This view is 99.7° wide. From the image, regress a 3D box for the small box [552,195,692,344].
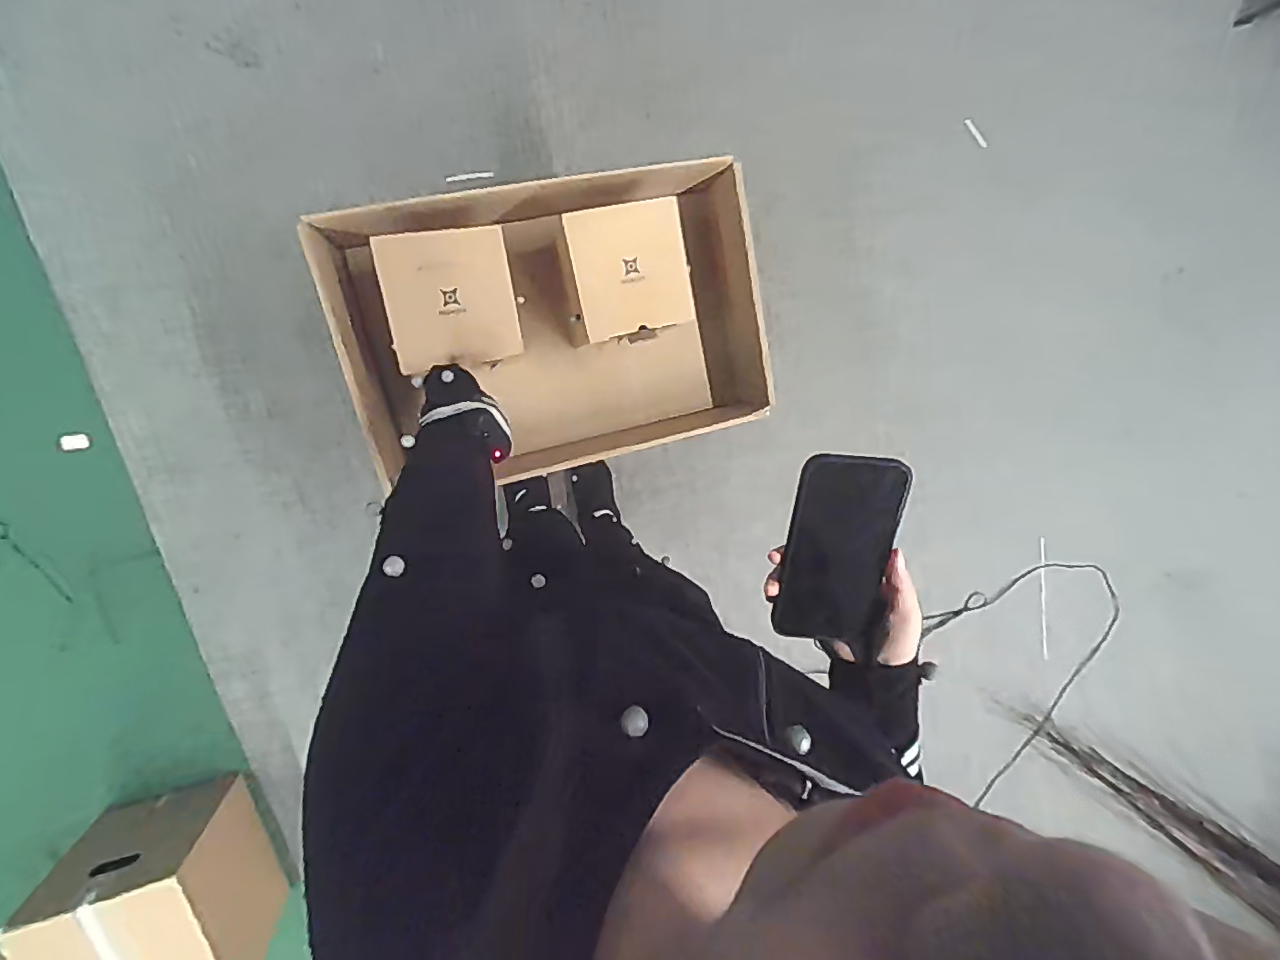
[{"bbox_3d":[-0.035,-0.314,0.837,0.168,0.176,0.179,-14,106,-10],"label":"small box"}]
